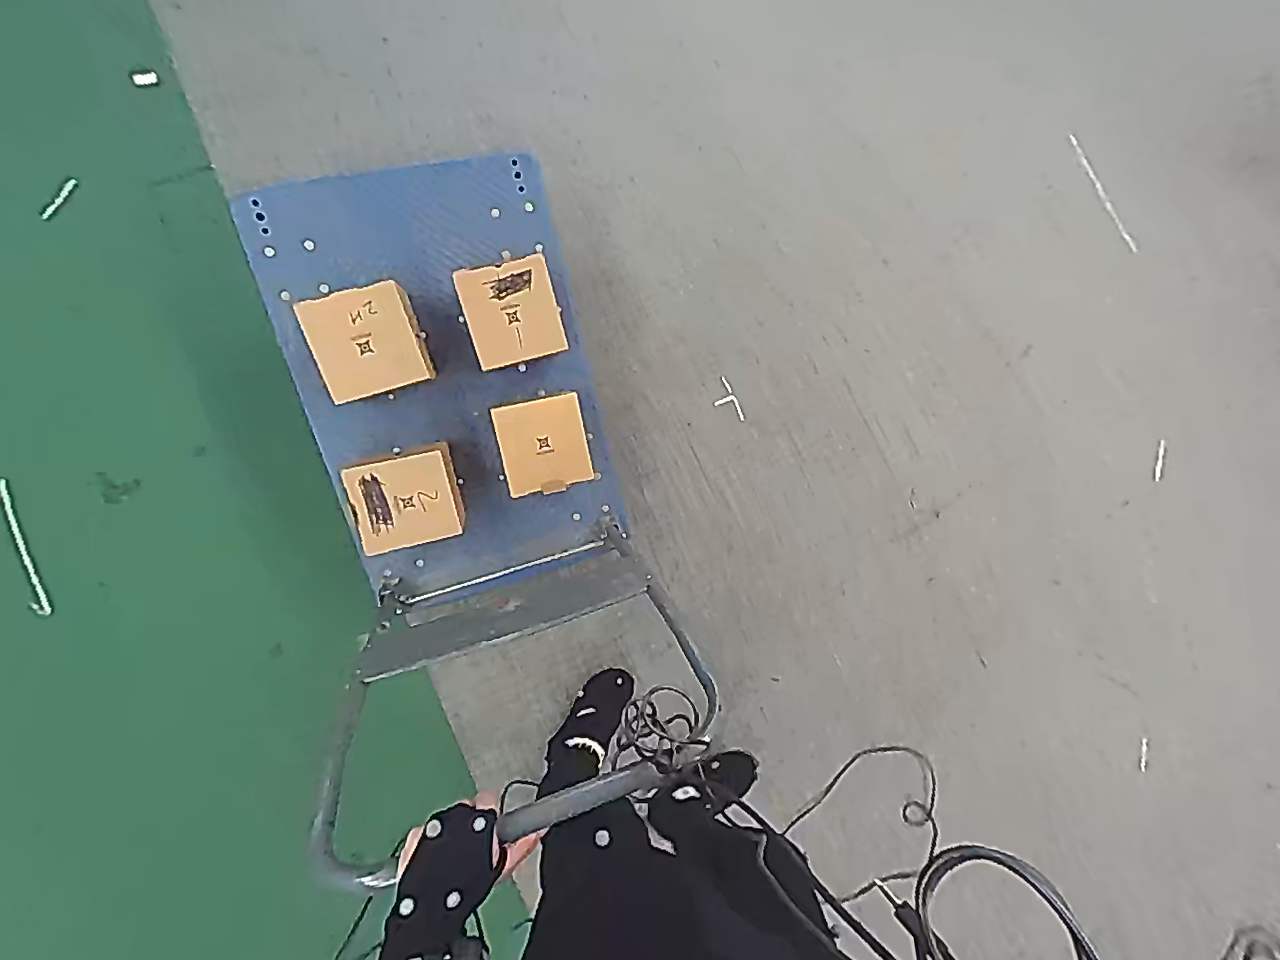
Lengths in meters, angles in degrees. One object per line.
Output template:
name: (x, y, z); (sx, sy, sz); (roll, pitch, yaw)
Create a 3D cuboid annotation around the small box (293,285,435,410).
small box: (-0.494, -0.241, 0.999); (0.168, 0.176, 0.179); (-20, 104, -11)

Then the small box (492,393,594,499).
small box: (-0.203, -0.077, 1.106); (0.168, 0.176, 0.179); (-14, 104, -11)

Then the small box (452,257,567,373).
small box: (-0.252, -0.311, 1.049); (0.168, 0.176, 0.179); (-17, 105, -10)
